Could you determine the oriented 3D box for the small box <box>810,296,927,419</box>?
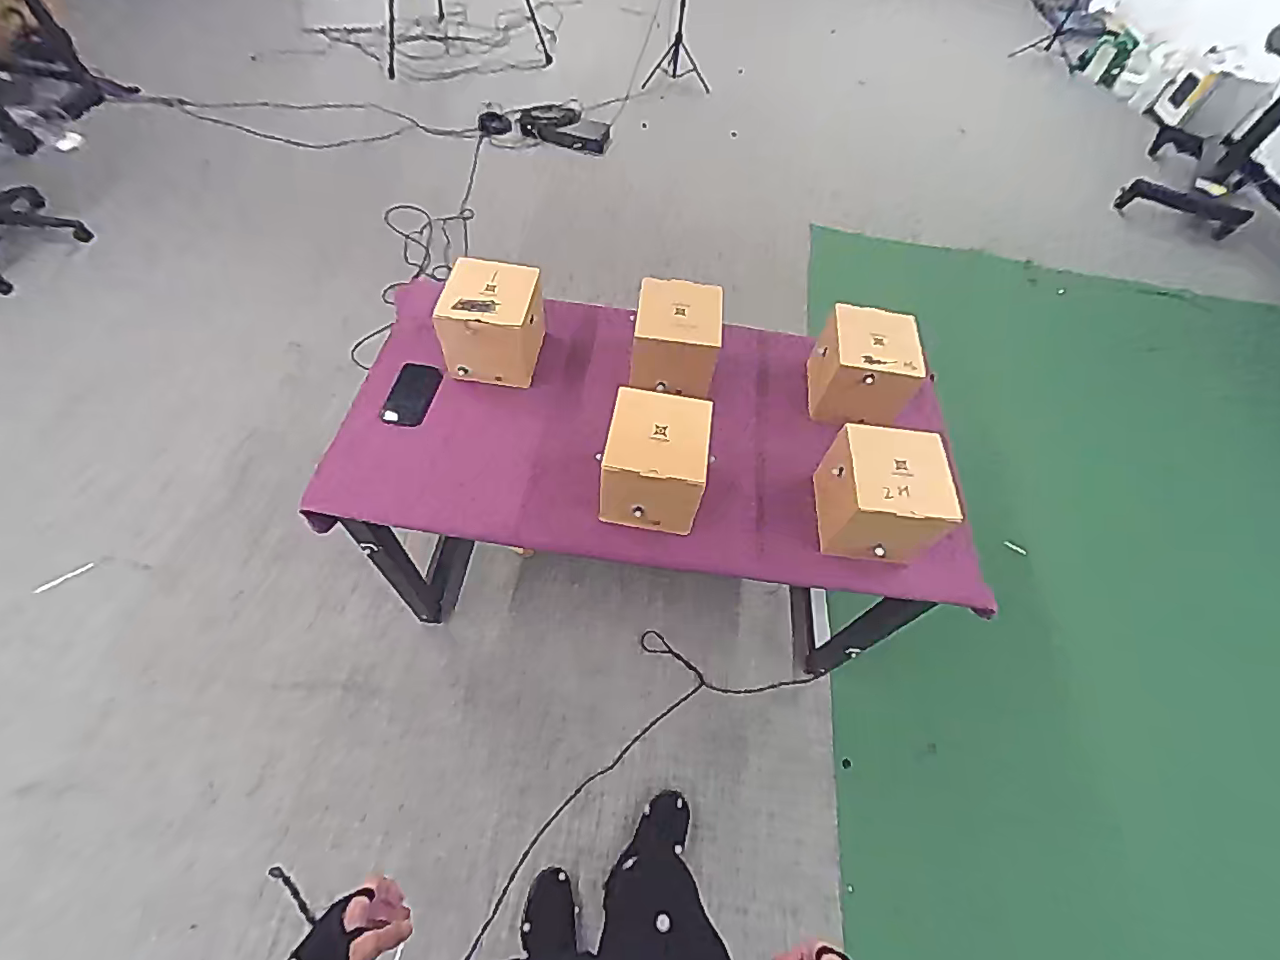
[{"bbox_3d":[0.456,-0.245,1.110,0.168,0.176,0.179,8,58,1],"label":"small box"}]

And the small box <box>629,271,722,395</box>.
[{"bbox_3d":[0.070,-0.297,1.110,0.168,0.176,0.179,7,59,0],"label":"small box"}]

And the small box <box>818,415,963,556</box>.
[{"bbox_3d":[0.419,0.012,0.942,0.168,0.176,0.179,6,58,1],"label":"small box"}]

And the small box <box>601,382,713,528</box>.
[{"bbox_3d":[0.026,-0.041,0.946,0.168,0.176,0.179,9,57,0],"label":"small box"}]

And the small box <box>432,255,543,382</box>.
[{"bbox_3d":[-0.295,-0.321,1.091,0.168,0.176,0.179,7,57,-1],"label":"small box"}]
